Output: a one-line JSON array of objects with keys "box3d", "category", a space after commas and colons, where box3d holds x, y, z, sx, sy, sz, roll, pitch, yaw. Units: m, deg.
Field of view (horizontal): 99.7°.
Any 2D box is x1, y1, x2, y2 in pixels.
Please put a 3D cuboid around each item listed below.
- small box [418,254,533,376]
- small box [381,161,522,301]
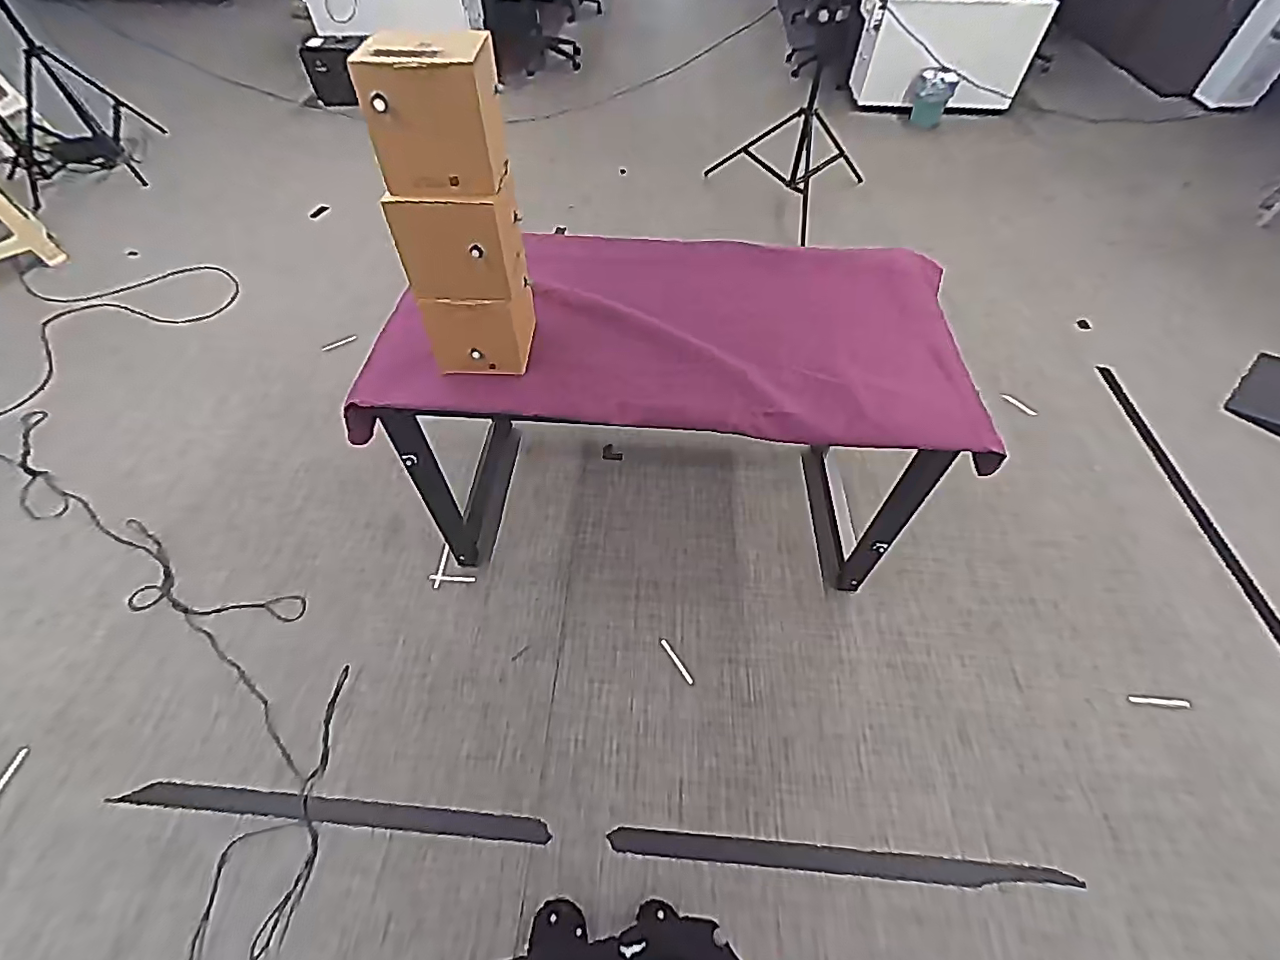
[{"box3d": [-0.310, -0.327, 1.064, 0.168, 0.176, 0.179, 1, 53, 0], "category": "small box"}, {"box3d": [-0.309, -0.426, 0.935, 0.179, 0.176, 0.168, 0, 51, 0], "category": "small box"}]
